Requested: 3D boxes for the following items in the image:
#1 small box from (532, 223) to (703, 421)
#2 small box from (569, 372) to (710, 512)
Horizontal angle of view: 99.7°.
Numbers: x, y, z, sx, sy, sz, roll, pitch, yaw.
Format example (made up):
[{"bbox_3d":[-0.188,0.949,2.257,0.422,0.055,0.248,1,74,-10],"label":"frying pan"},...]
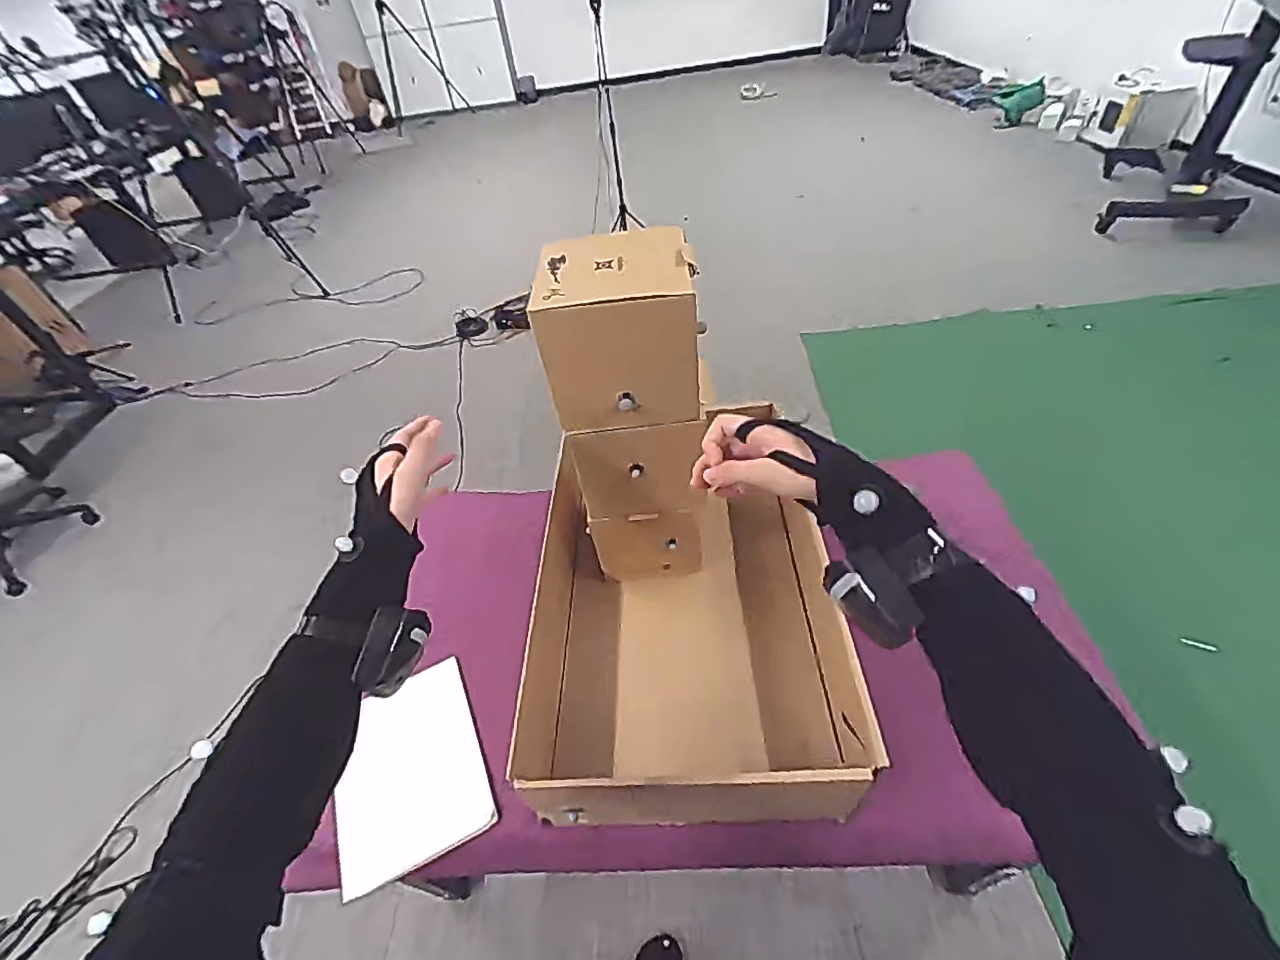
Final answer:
[{"bbox_3d":[-0.018,-0.188,0.656,0.179,0.176,0.168,-4,46,3],"label":"small box"},{"bbox_3d":[0.002,-0.073,0.772,0.179,0.176,0.168,-7,46,2],"label":"small box"}]
